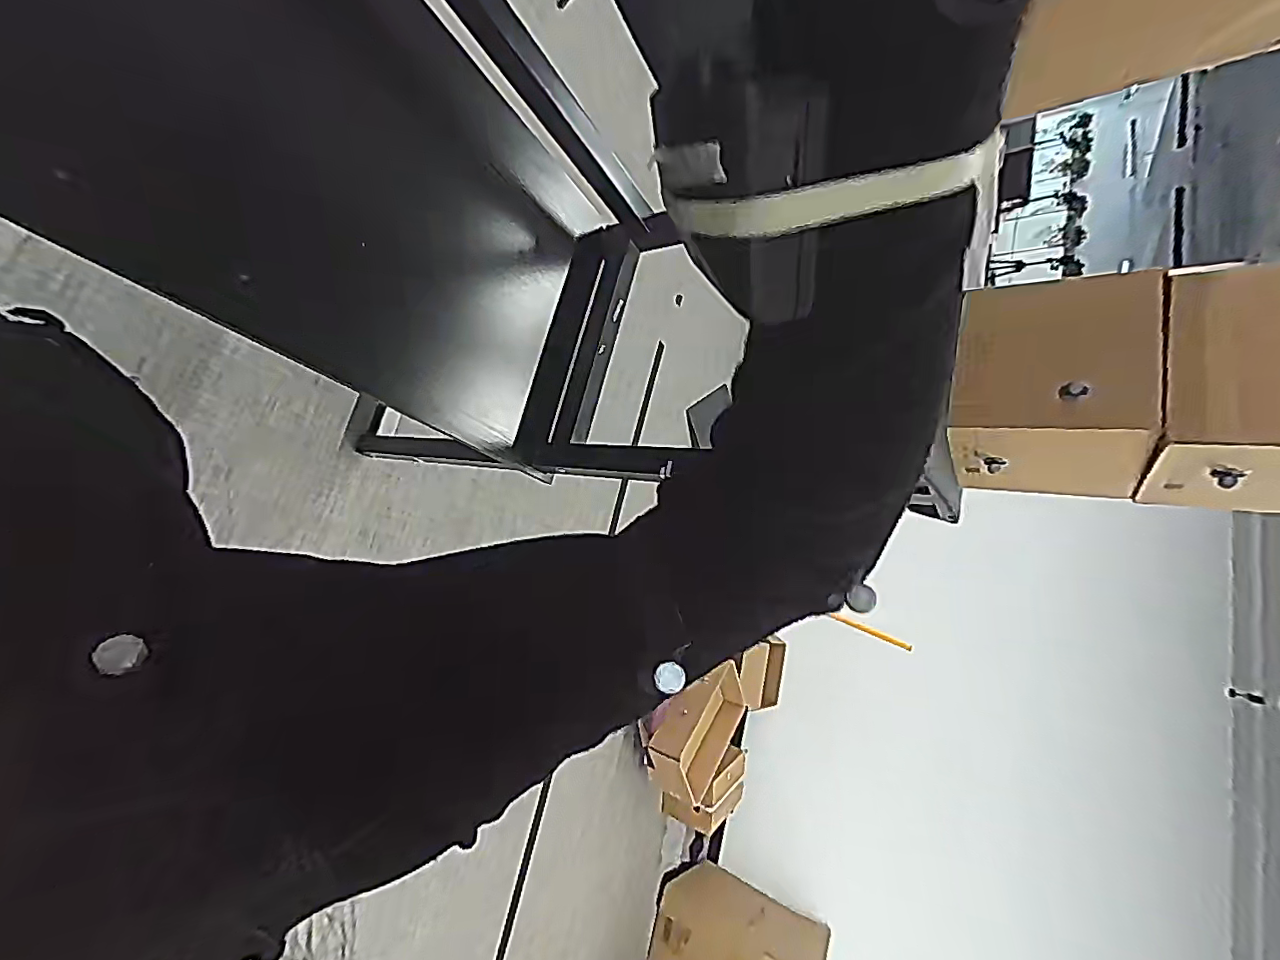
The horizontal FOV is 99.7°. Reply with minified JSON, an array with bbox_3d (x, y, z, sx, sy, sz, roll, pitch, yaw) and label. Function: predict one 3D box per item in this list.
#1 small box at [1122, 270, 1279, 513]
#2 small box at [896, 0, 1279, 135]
[{"bbox_3d":[0.575,-0.078,0.501,0.168,0.176,0.179,33,69,-51],"label":"small box"},{"bbox_3d":[0.213,-0.305,0.246,0.168,0.176,0.179,31,67,-52],"label":"small box"}]
